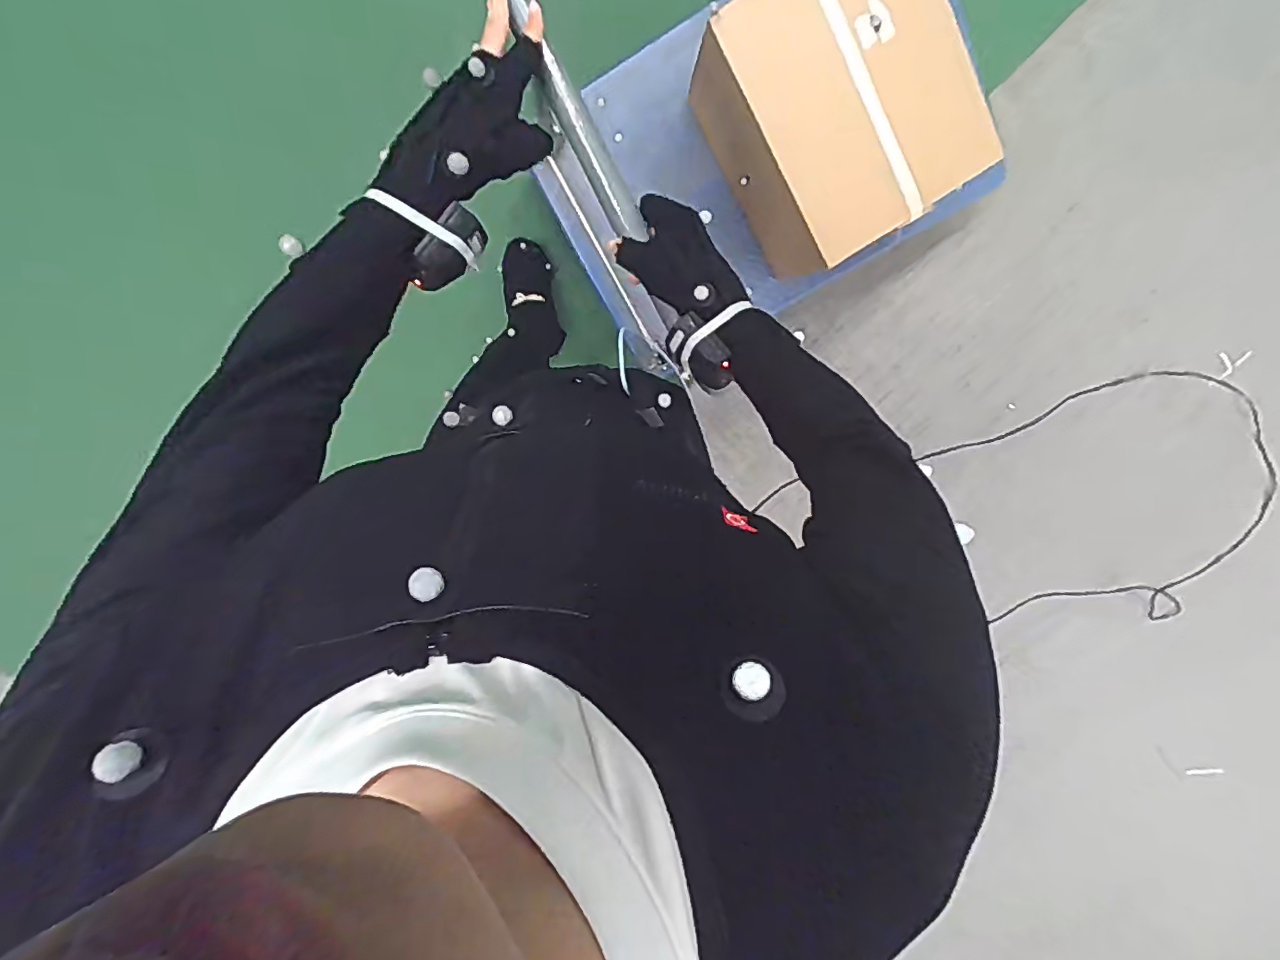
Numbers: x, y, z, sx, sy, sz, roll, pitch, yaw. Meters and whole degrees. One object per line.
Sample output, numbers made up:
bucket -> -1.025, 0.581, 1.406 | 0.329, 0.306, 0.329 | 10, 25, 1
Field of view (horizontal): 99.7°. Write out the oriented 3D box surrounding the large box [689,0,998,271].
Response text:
large box -> 0.328, -0.643, 0.961 | 0.320, 0.320, 0.408 | -31, 105, 7
